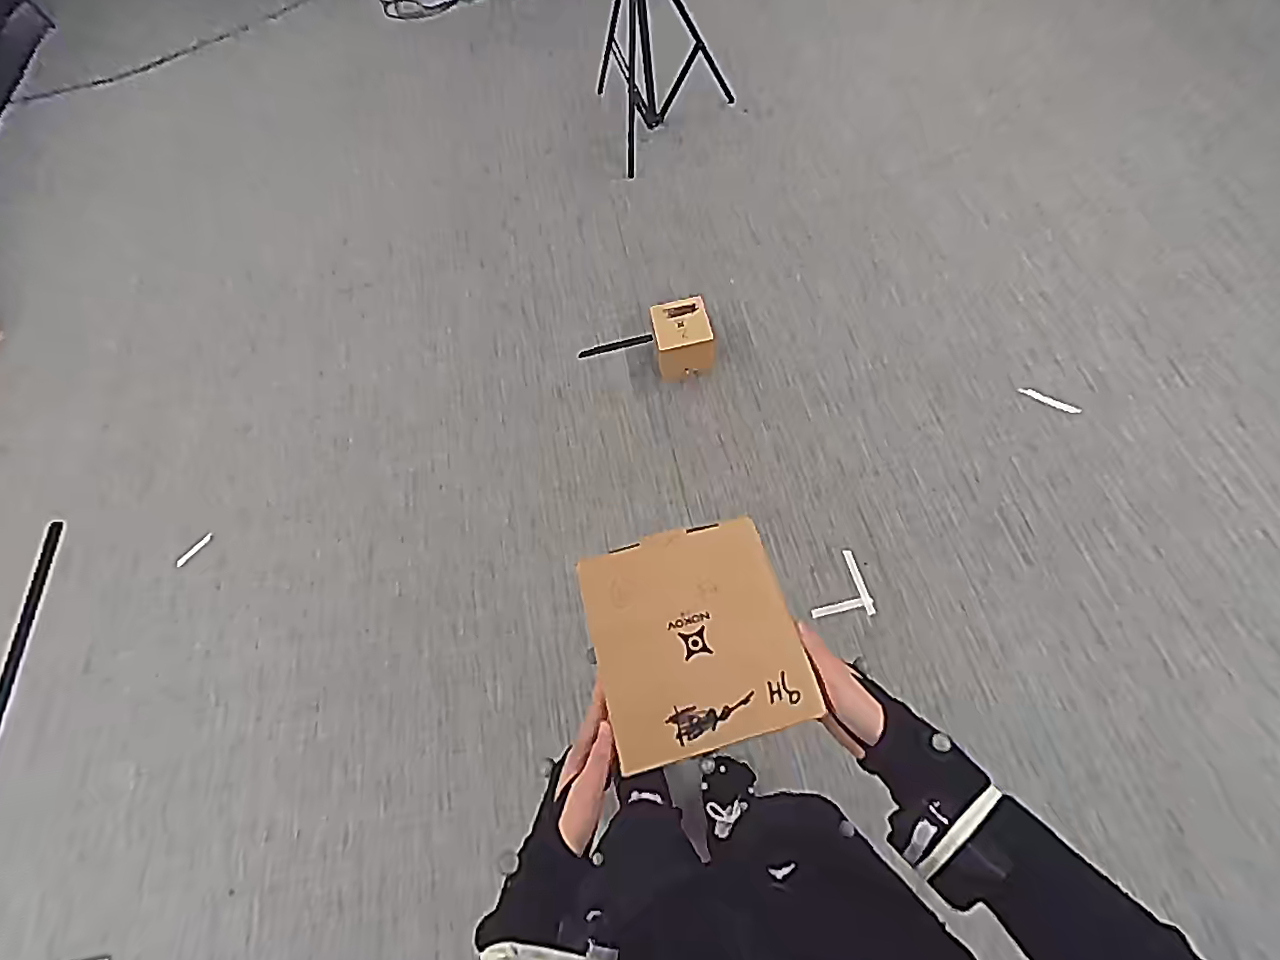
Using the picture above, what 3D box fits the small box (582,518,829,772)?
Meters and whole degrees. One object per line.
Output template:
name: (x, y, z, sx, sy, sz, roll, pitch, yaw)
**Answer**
small box: (0.048, 0.162, 0.514, 0.168, 0.176, 0.179, -14, 63, -5)
